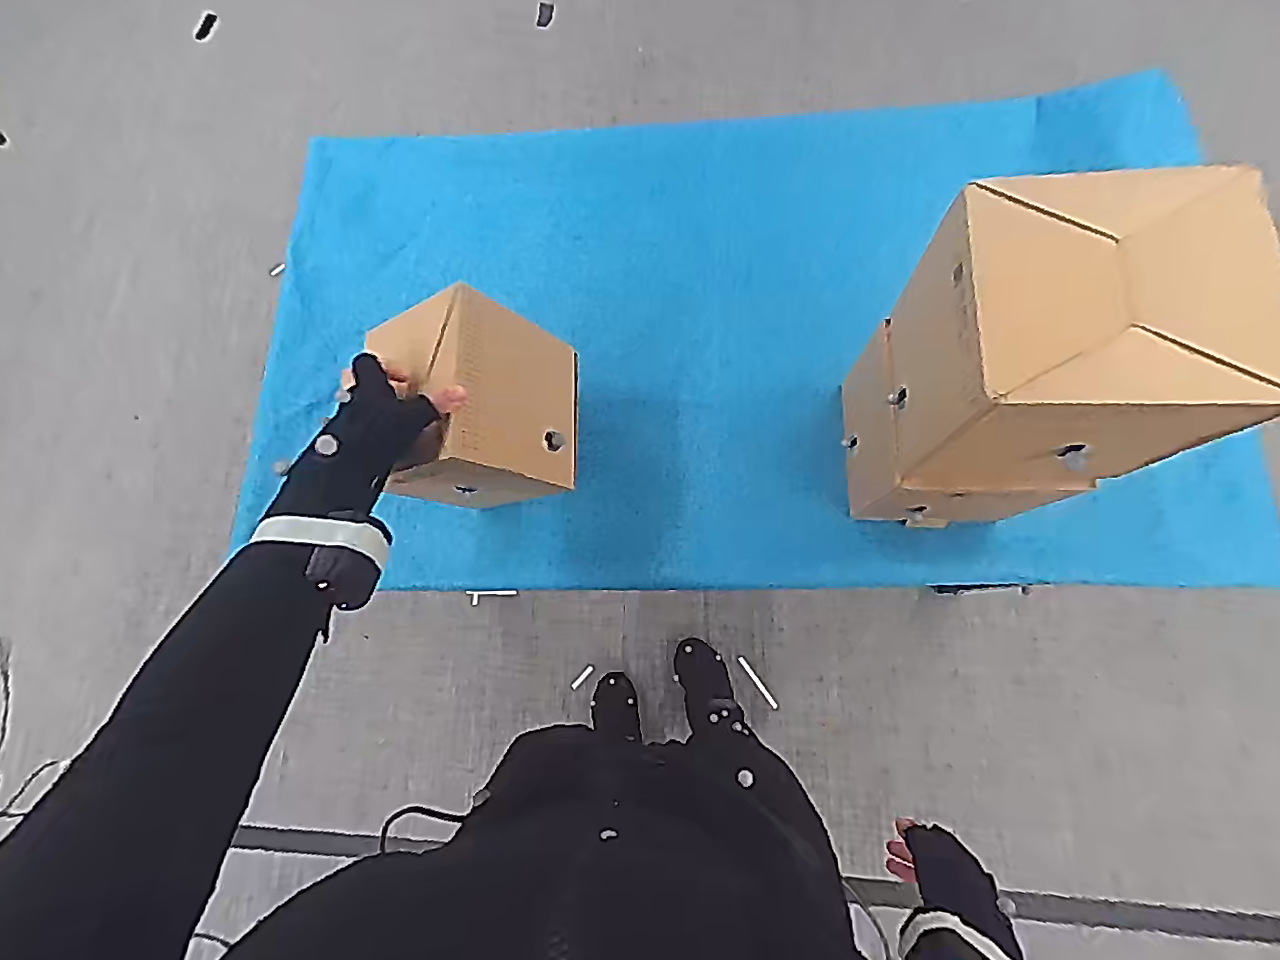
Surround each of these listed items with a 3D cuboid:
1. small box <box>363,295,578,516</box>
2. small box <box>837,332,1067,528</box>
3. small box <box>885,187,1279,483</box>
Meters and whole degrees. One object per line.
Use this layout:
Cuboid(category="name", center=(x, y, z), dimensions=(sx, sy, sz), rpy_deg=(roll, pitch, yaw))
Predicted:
Cuboid(category="small box", center=(-0.186, -0.069, 0.600), dimensions=(0.168, 0.176, 0.179), rpy_deg=(-14, 71, 35))
Cuboid(category="small box", center=(0.320, -0.050, 0.578), dimensions=(0.168, 0.176, 0.179), rpy_deg=(0, 75, 6))
Cuboid(category="small box", center=(0.310, -0.097, 0.421), dimensions=(0.179, 0.176, 0.168), rpy_deg=(1, 74, 9))
